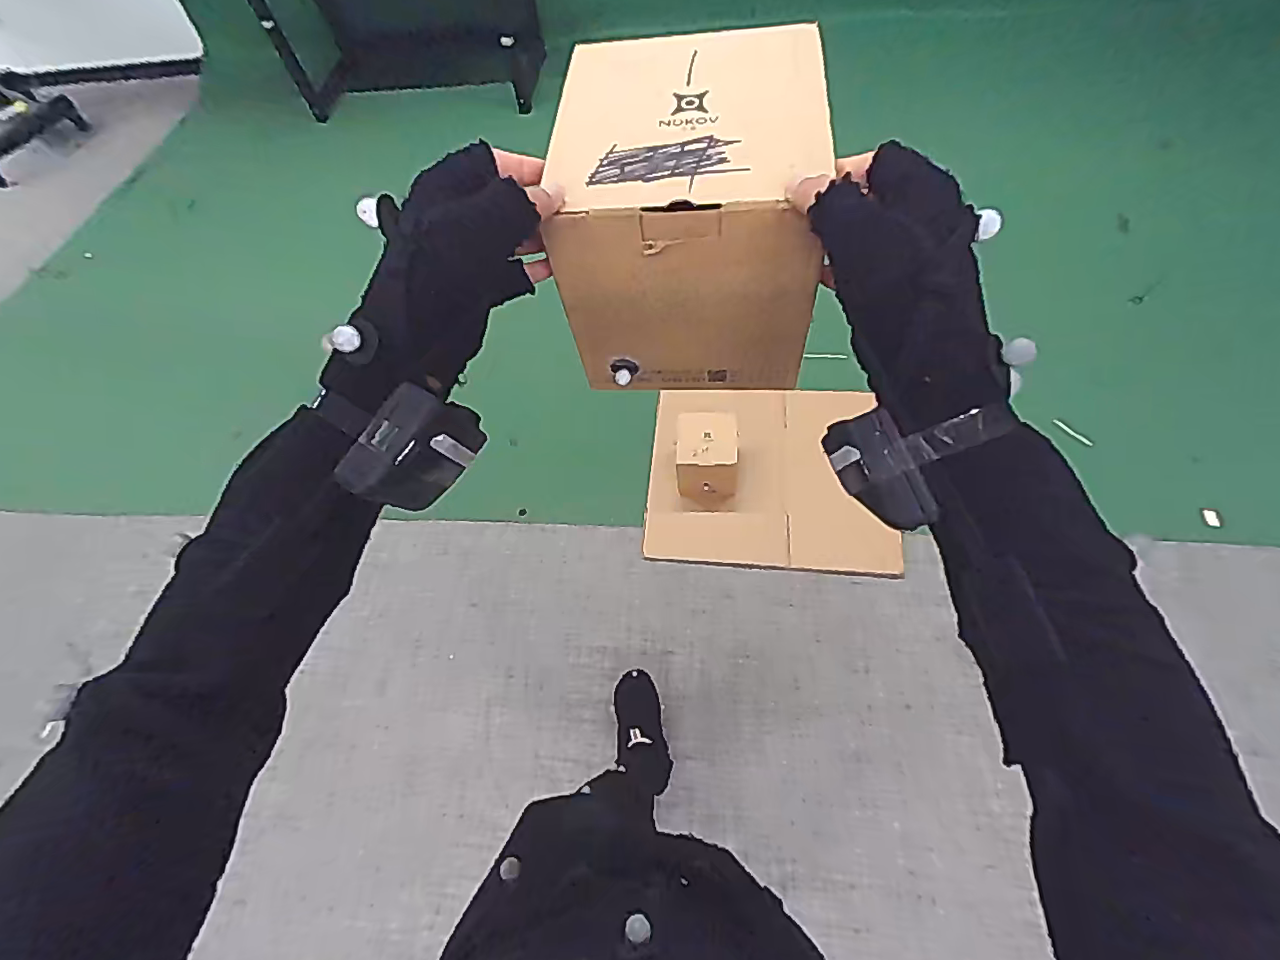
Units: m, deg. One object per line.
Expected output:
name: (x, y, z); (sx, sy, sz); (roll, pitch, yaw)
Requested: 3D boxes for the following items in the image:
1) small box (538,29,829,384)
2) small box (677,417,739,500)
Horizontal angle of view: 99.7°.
small box: (0.039, -0.187, 0.404); (0.168, 0.176, 0.179); (2, 63, 8)
small box: (0.196, -0.061, 1.543); (0.168, 0.176, 0.179); (1, 60, 9)
